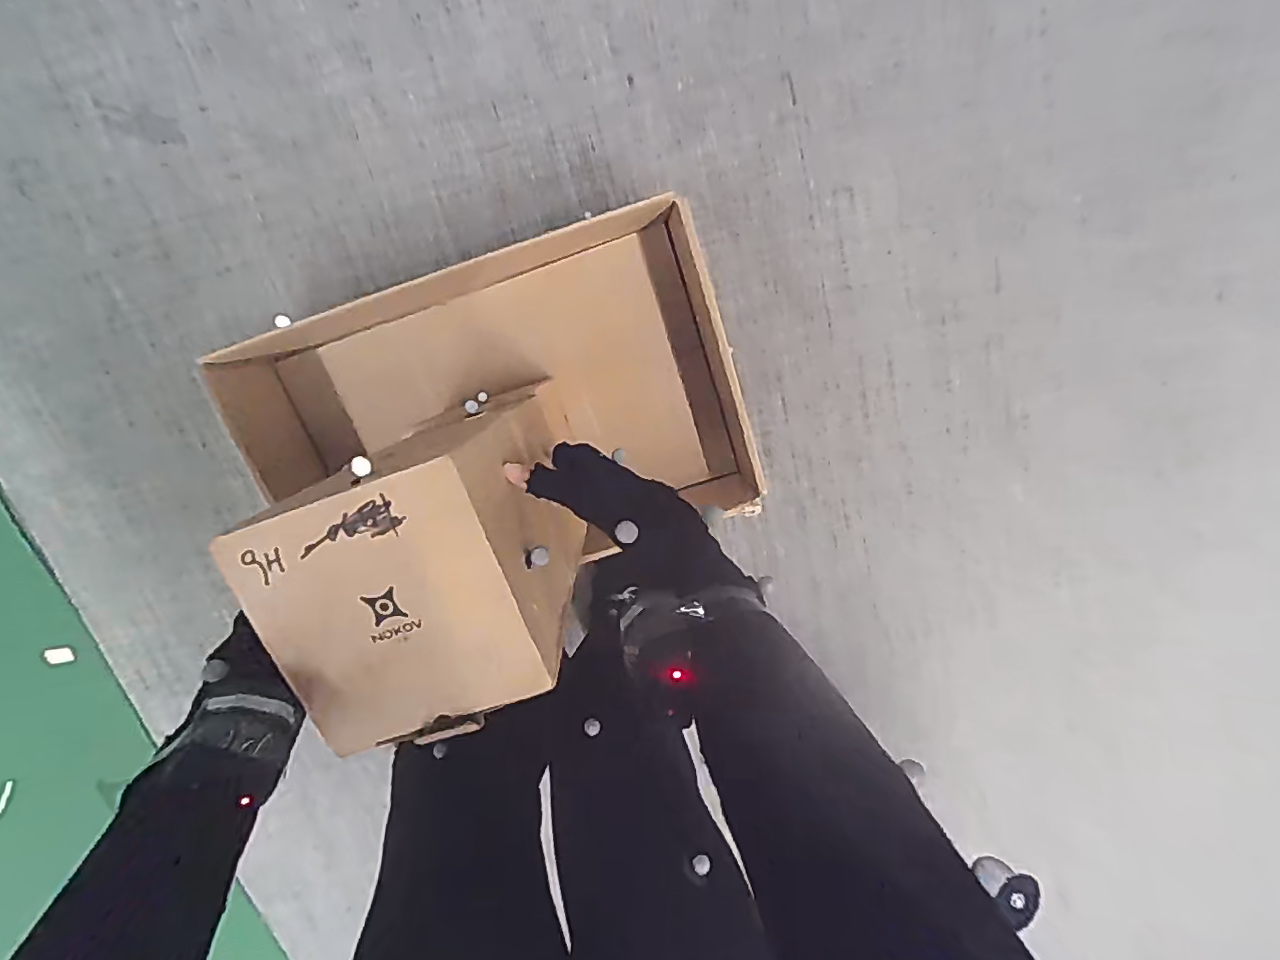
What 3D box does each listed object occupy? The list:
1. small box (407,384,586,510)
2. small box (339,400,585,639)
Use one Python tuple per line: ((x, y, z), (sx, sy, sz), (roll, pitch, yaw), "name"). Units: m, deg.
((-0.180, -0.027, 0.748), (0.179, 0.176, 0.168), (-17, 105, 5), "small box")
((-0.168, 0.031, 0.581), (0.168, 0.176, 0.179), (-22, 105, 5), "small box")
